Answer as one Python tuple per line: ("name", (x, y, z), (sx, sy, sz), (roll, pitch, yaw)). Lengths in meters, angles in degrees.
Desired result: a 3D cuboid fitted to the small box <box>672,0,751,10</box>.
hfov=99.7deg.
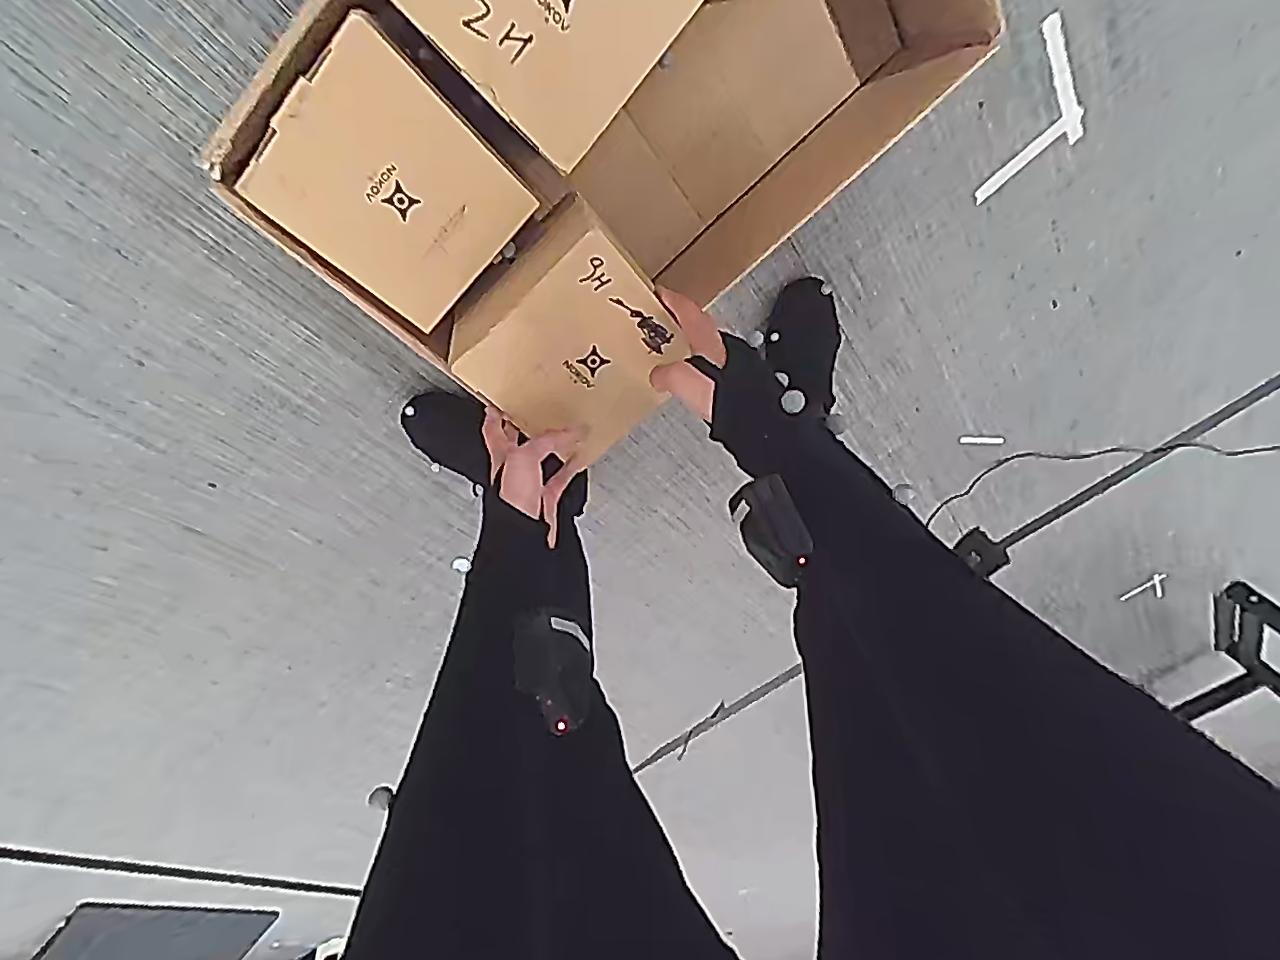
("small box", (0.068, -0.512, 0.418), (0.168, 0.176, 0.179), (-39, 129, 15))
